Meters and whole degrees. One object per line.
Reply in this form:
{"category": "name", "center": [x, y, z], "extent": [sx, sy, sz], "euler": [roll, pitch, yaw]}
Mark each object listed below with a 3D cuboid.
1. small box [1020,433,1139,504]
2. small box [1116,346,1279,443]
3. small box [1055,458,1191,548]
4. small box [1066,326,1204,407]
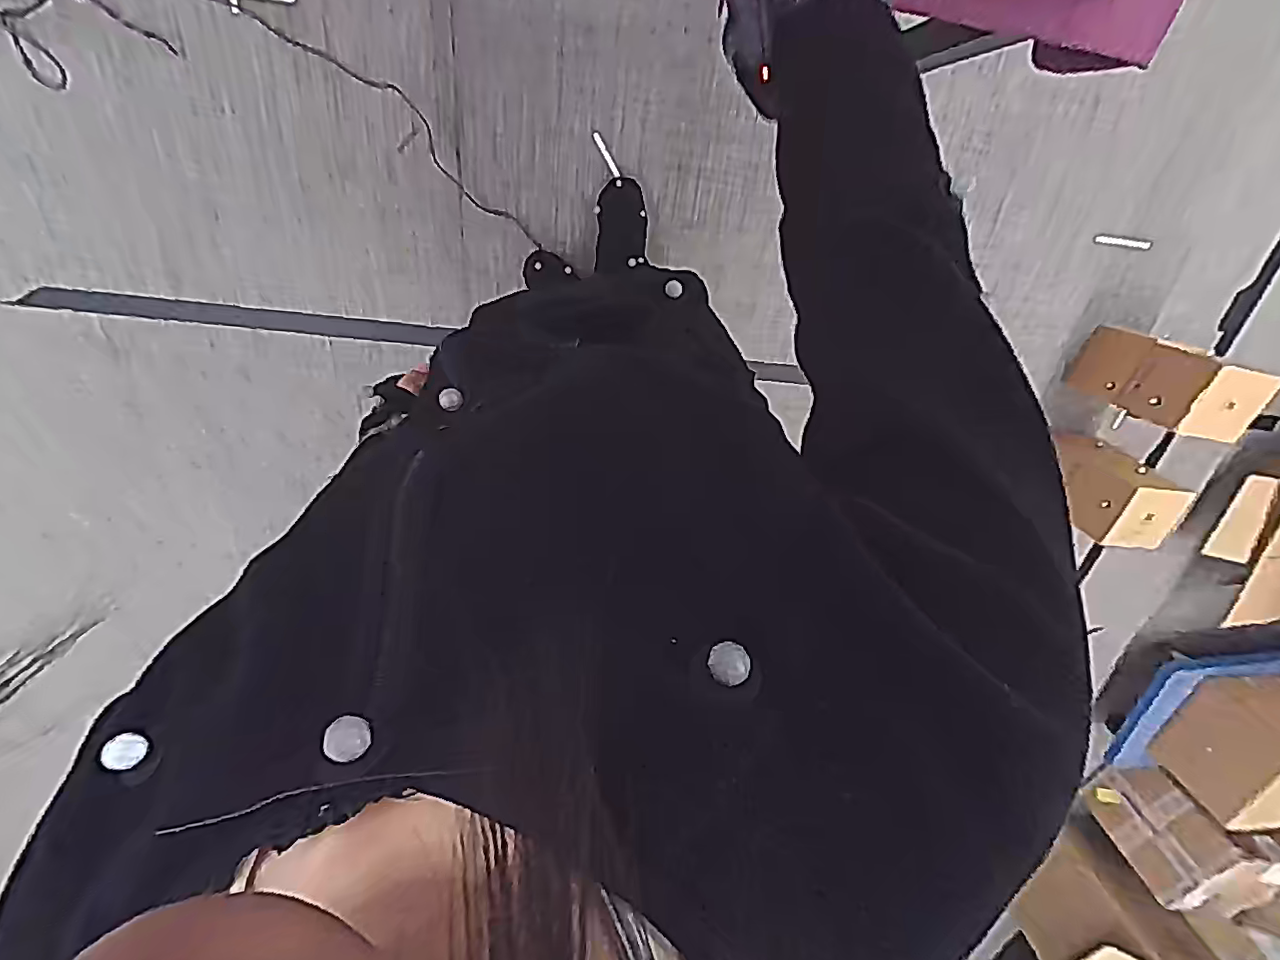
{"category": "small box", "center": [1.263, -0.028, 1.570], "extent": [0.179, 0.176, 0.168], "euler": [3, 120, -8]}
{"category": "small box", "center": [1.307, -0.208, 1.285], "extent": [0.179, 0.176, 0.168], "euler": [7, 121, -11]}
{"category": "small box", "center": [1.259, 0.057, 1.428], "extent": [0.168, 0.176, 0.179], "euler": [5, 120, -8]}
{"category": "small box", "center": [1.286, -0.292, 1.422], "extent": [0.168, 0.176, 0.179], "euler": [9, 119, -11]}
